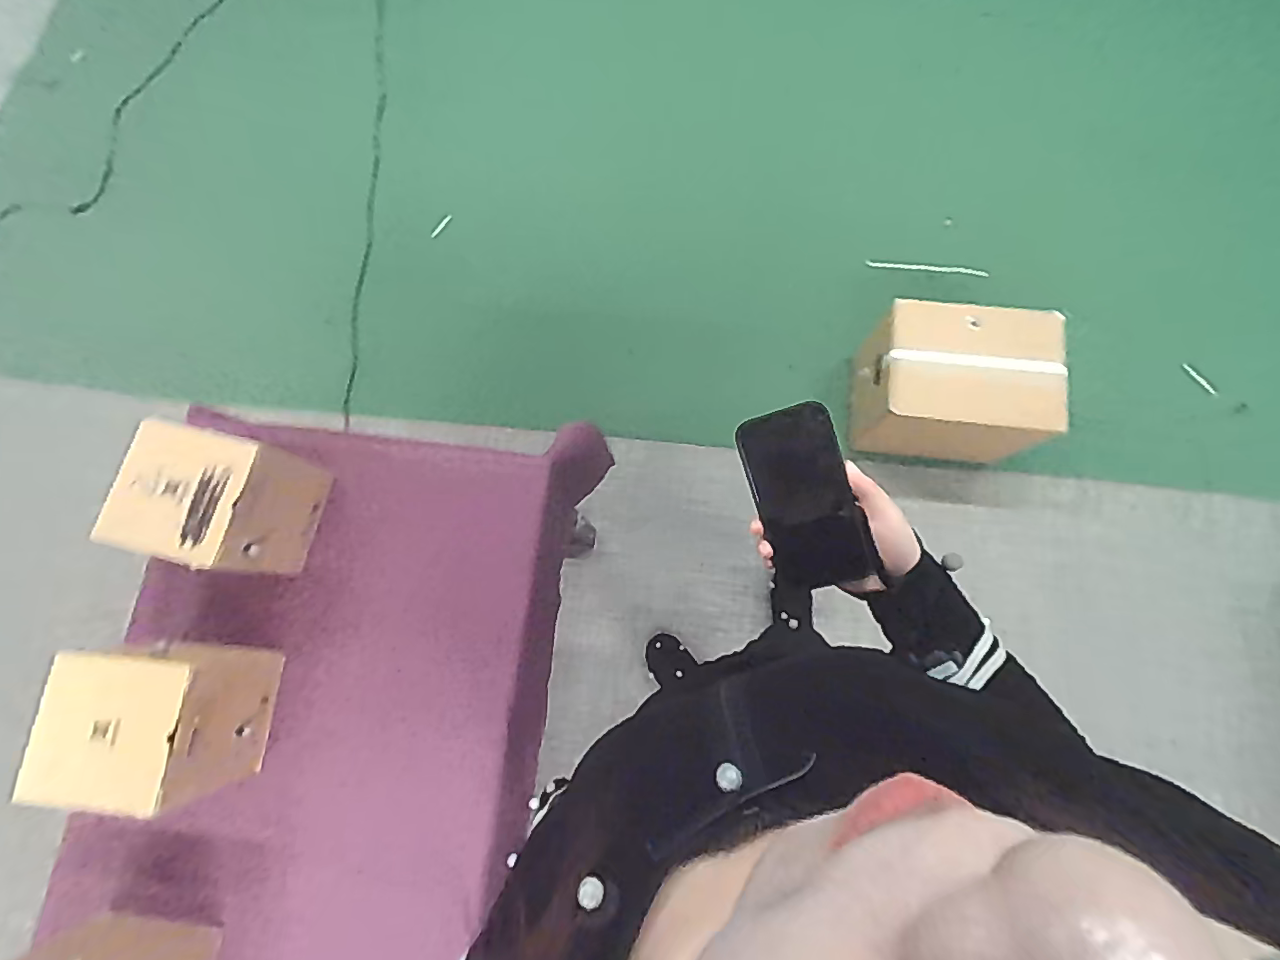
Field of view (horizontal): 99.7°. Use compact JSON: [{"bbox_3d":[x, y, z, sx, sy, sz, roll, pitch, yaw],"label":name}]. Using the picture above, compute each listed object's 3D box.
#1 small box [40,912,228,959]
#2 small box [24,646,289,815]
[{"bbox_3d":[-0.644,0.654,0.638,0.179,0.176,0.168,6,76,4],"label":"small box"},{"bbox_3d":[-0.617,0.315,0.716,0.179,0.176,0.168,4,77,3],"label":"small box"}]
